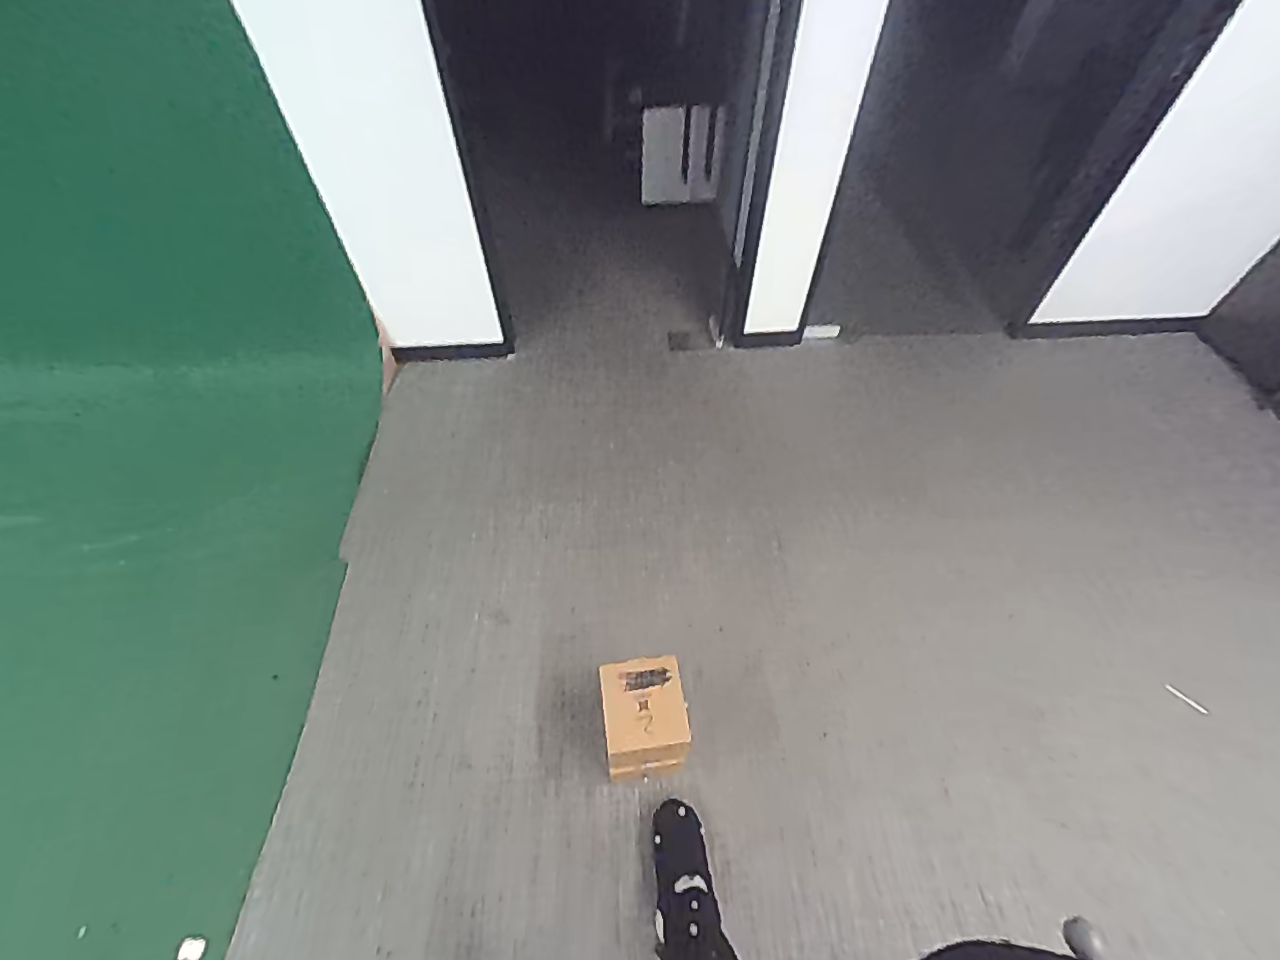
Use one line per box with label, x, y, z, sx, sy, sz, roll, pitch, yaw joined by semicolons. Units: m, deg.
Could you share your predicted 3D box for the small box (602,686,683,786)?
small box;0.003;0.610;1.277;0.168;0.176;0.179;-7;53;-6
